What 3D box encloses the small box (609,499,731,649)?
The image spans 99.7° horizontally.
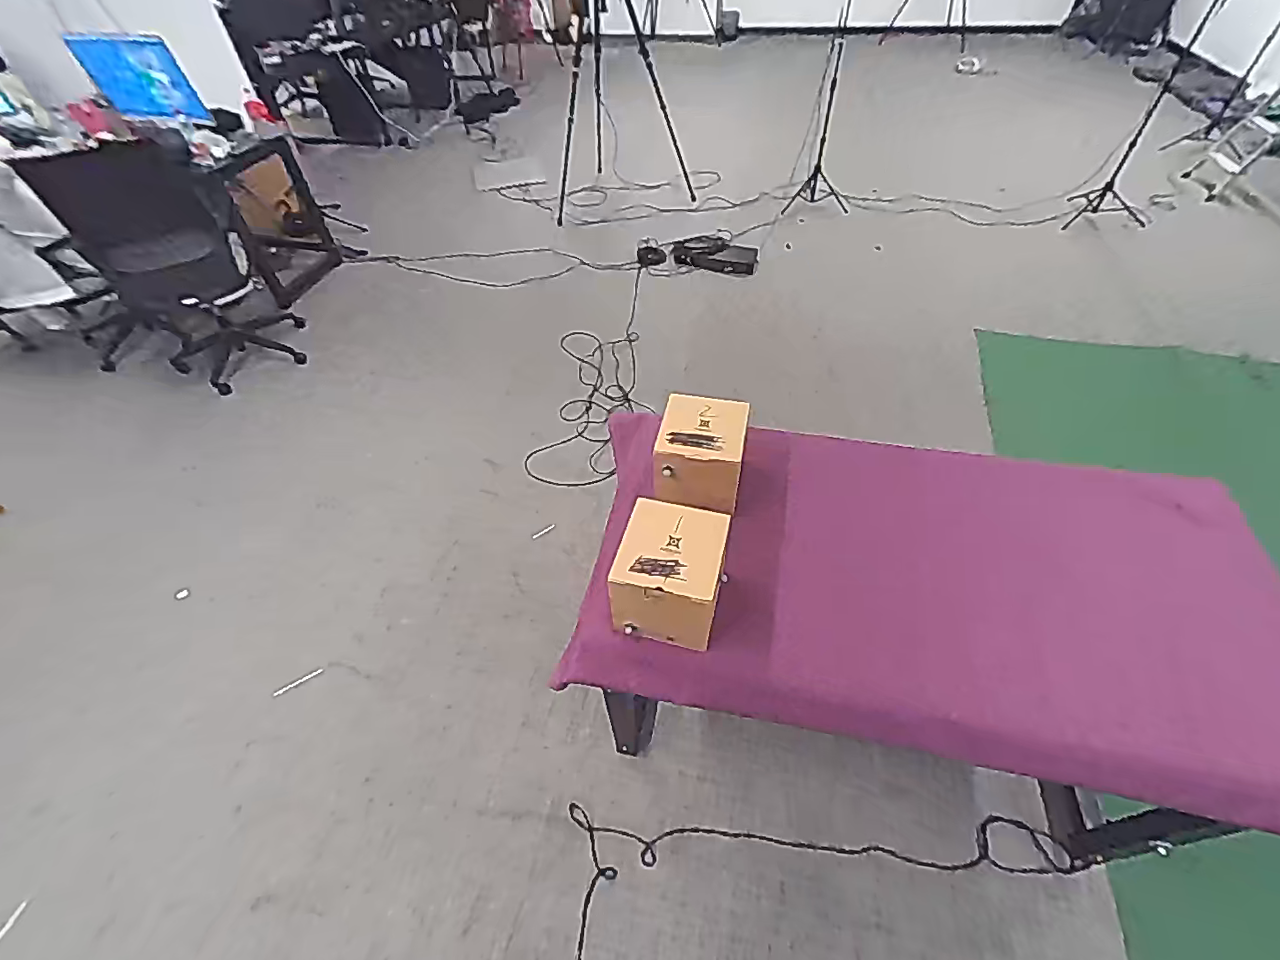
[{"bbox_3d":[0.055,0.163,0.926,0.168,0.176,0.179,11,48,11],"label":"small box"}]
